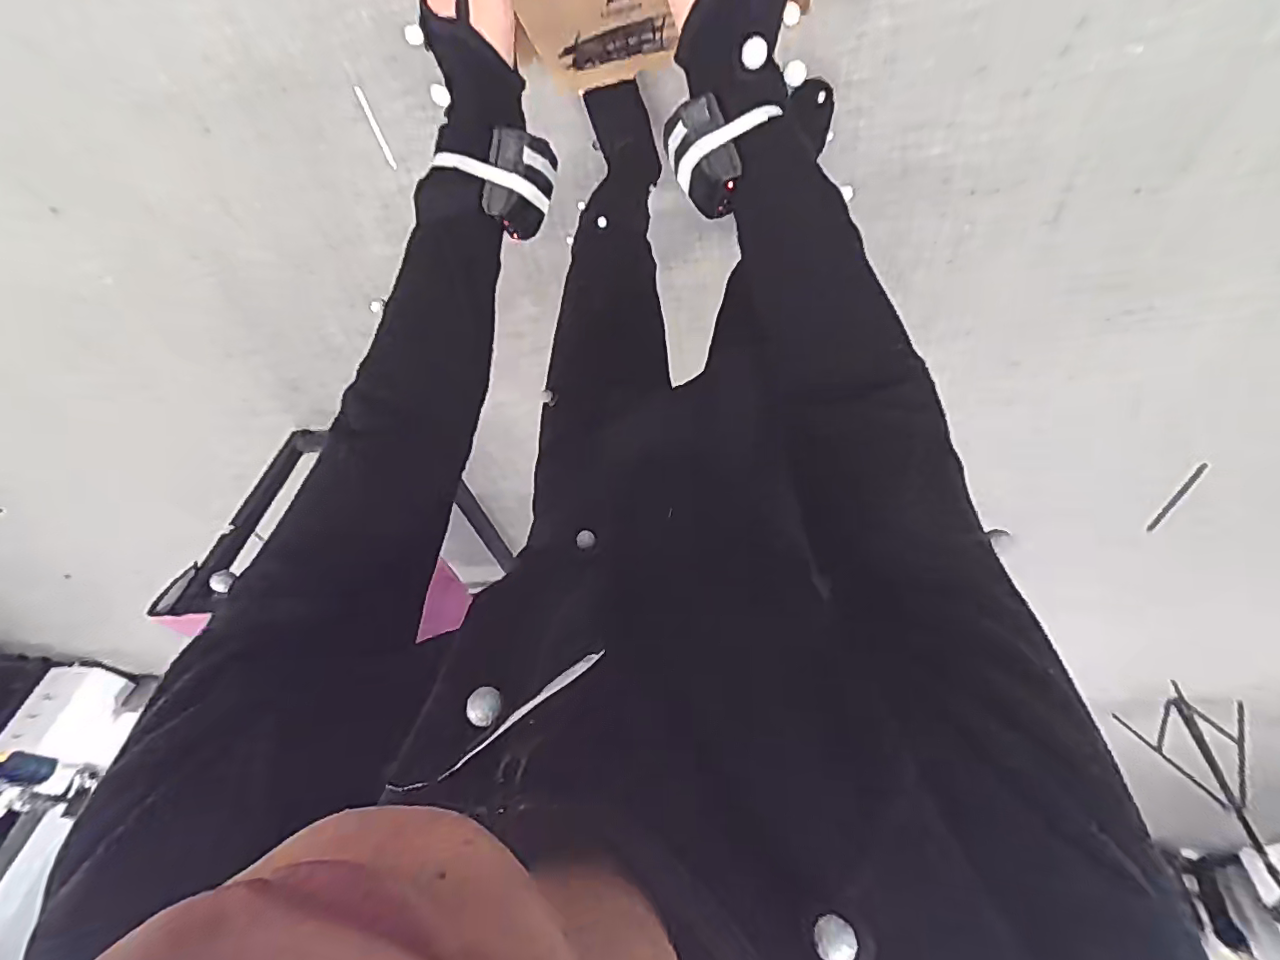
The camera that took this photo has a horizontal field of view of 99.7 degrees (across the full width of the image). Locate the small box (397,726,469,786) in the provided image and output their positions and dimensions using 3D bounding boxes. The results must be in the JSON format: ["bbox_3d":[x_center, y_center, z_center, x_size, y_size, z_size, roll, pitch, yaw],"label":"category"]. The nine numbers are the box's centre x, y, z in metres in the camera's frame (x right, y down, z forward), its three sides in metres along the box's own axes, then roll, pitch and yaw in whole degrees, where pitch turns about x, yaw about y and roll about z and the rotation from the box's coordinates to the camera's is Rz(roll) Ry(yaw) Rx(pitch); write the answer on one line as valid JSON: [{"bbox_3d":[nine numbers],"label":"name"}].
[{"bbox_3d":[-0.757,1.027,2.012,0.179,0.176,0.168,-10,137,17],"label":"small box"}]
